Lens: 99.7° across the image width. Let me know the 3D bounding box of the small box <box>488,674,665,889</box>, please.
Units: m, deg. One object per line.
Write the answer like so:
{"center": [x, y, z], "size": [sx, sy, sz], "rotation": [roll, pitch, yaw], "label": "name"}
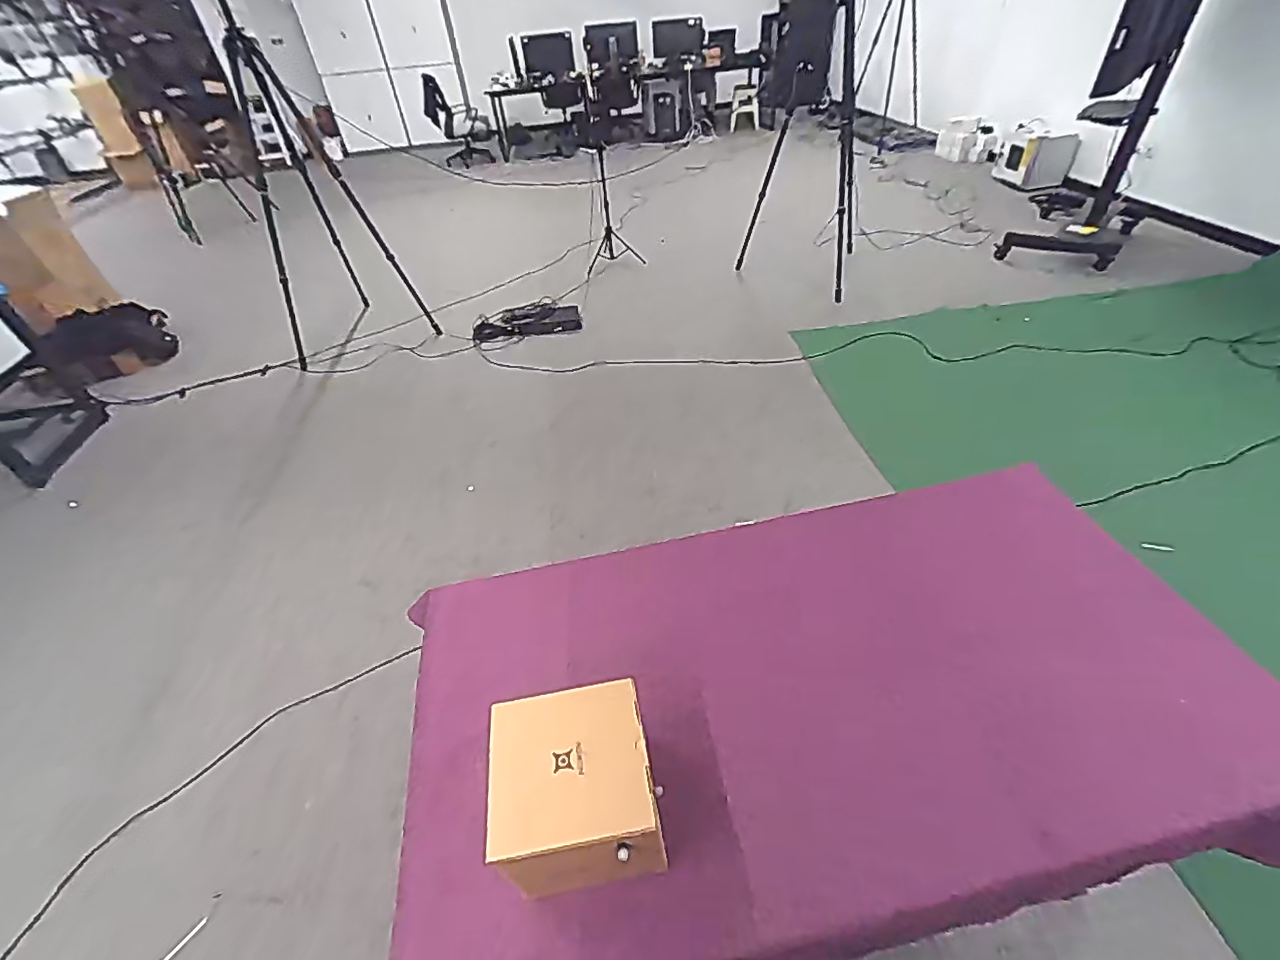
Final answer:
{"center": [-0.072, 0.368, 0.658], "size": [0.179, 0.176, 0.168], "rotation": [-10, 42, -4], "label": "small box"}
